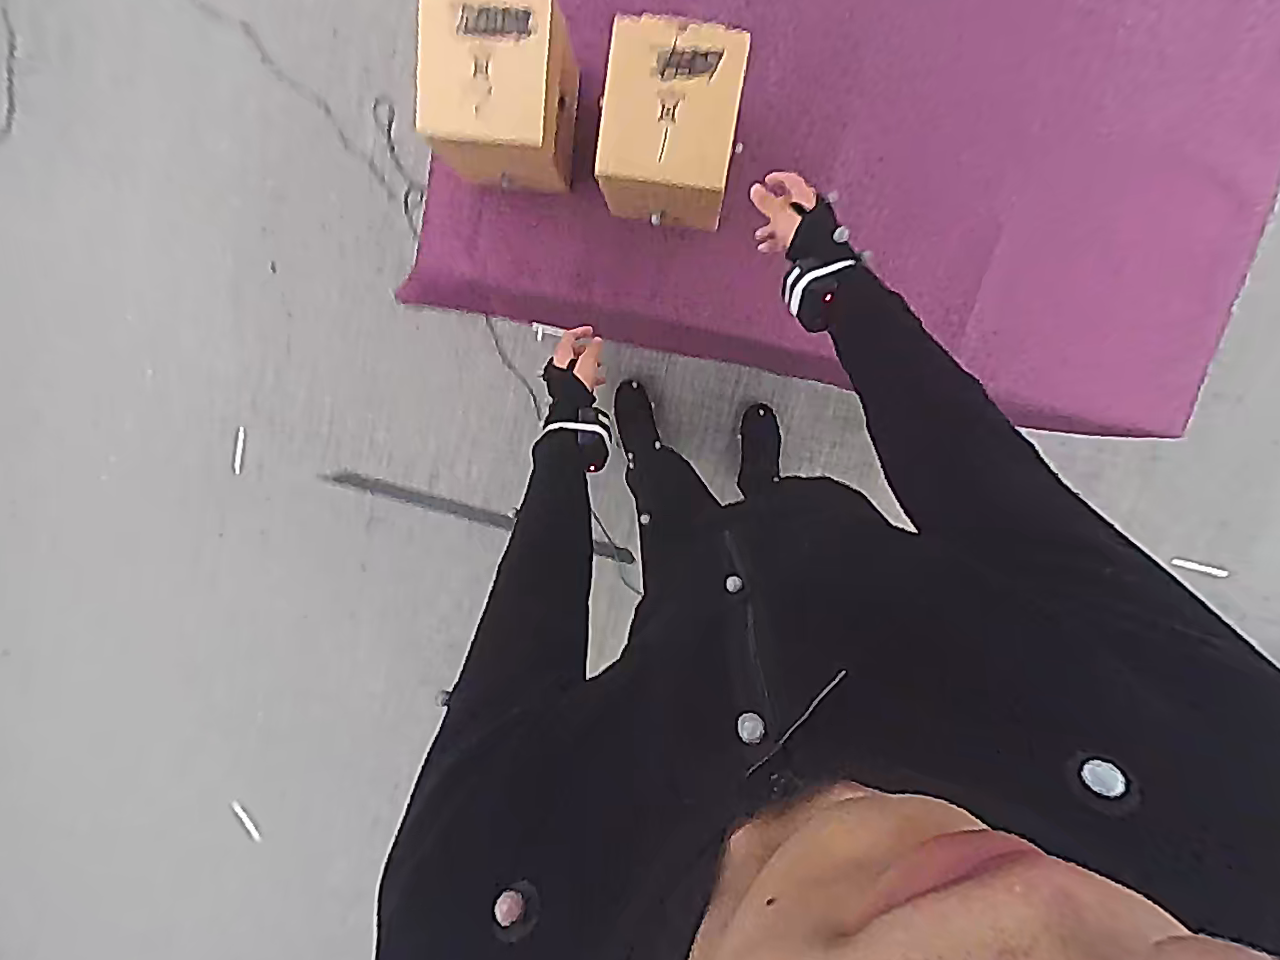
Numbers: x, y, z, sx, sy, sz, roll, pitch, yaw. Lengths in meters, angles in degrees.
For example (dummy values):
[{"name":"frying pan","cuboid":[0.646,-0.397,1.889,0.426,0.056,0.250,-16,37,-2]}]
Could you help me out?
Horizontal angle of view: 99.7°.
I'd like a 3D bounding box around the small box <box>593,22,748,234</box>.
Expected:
[{"name":"small box","cuboid":[0.040,-0.457,0.728,0.168,0.176,0.179,9,100,4]}]
